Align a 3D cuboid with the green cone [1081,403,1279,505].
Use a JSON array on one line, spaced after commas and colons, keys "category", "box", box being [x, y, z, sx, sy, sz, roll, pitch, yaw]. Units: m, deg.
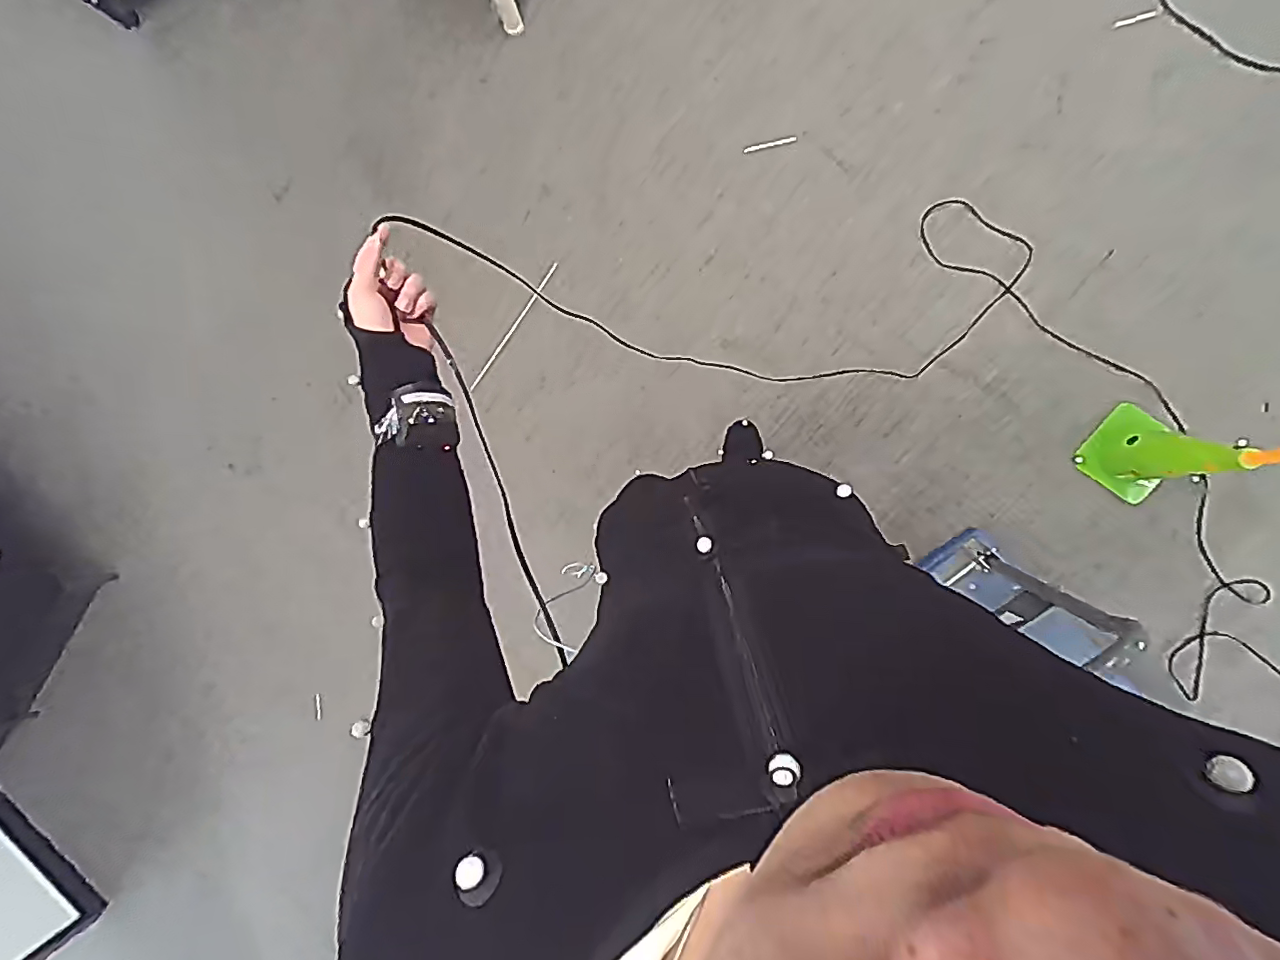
[{"category": "green cone", "box": [1.228, -0.052, 1.200, 0.200, 0.368, 0.202, 37, 100, 6]}]
